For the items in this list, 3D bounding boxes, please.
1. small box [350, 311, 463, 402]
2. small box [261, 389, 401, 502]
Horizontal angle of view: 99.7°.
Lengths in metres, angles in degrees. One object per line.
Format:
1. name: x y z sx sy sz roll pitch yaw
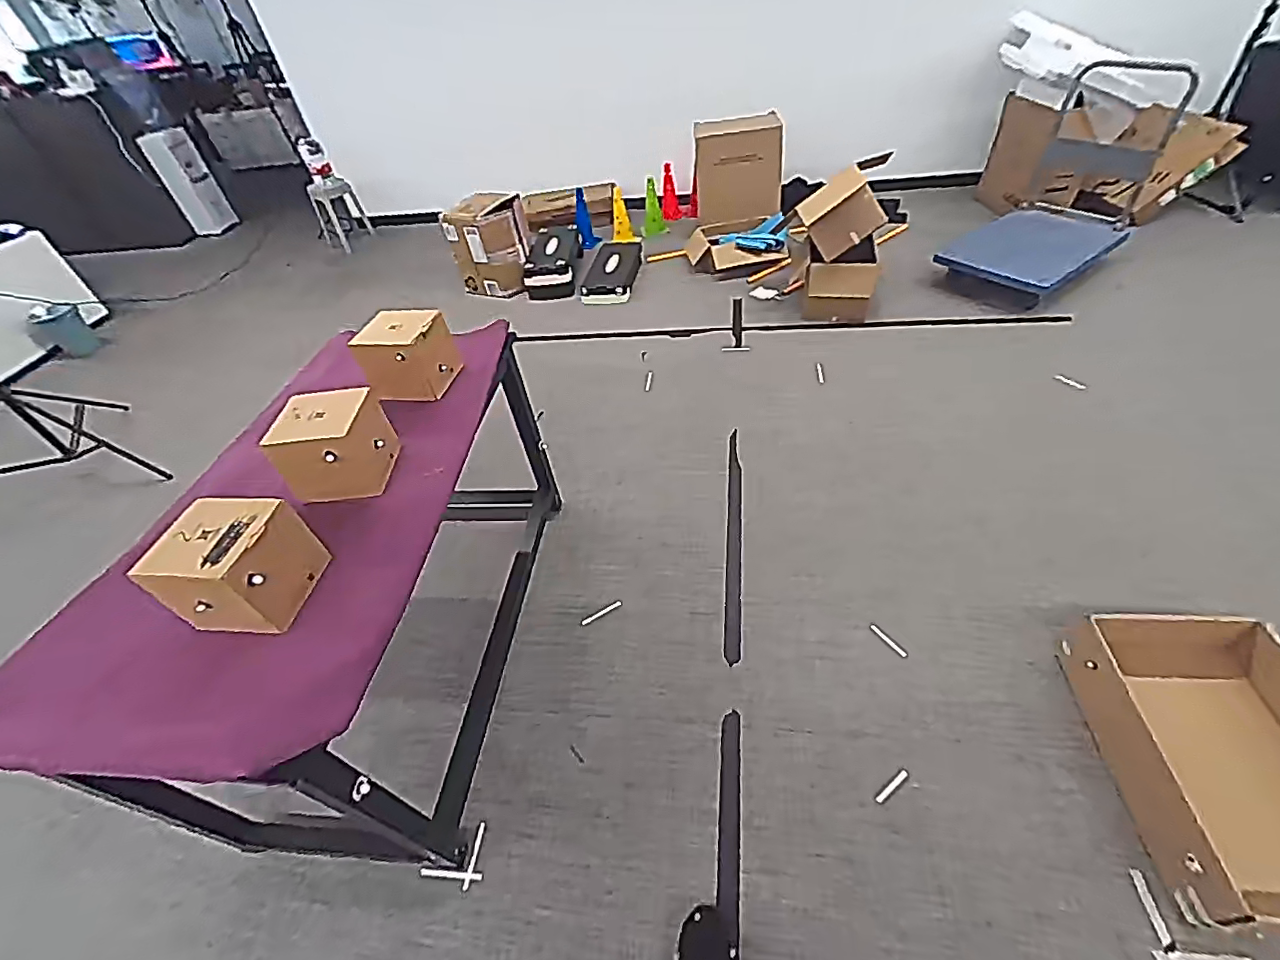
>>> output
1. small box: -0.590 -0.315 1.390 0.179 0.176 0.168 2 46 13
2. small box: -0.642 -0.070 1.152 0.179 0.176 0.168 -6 44 3
